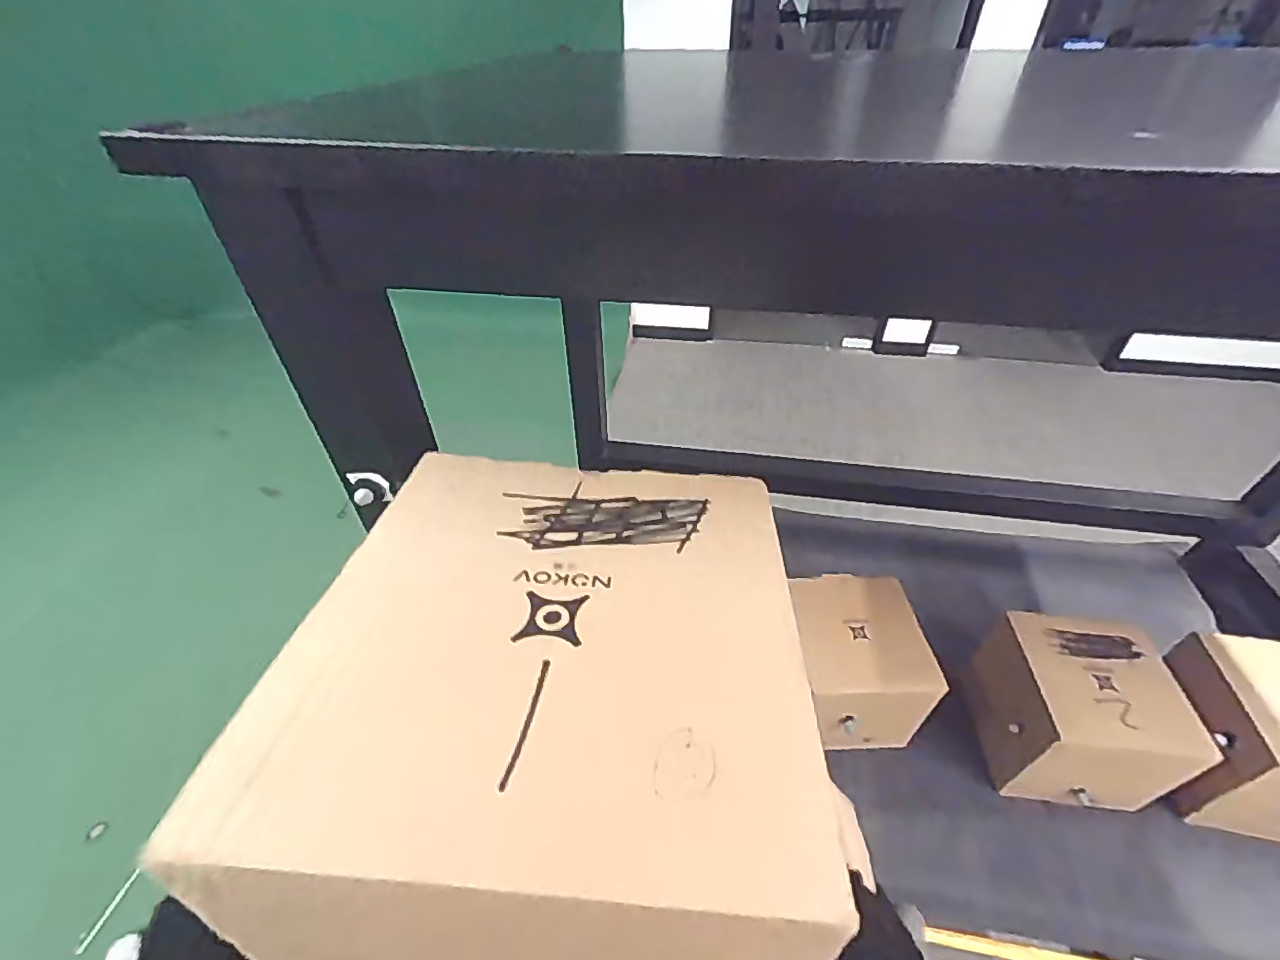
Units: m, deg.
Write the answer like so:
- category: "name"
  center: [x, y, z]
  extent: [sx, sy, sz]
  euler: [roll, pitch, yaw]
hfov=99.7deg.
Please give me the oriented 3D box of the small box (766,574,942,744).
- category: "small box"
  center: [0.282, 0.253, 0.760]
  extent: [0.168, 0.176, 0.179]
  euler: [-1, 41, -1]
